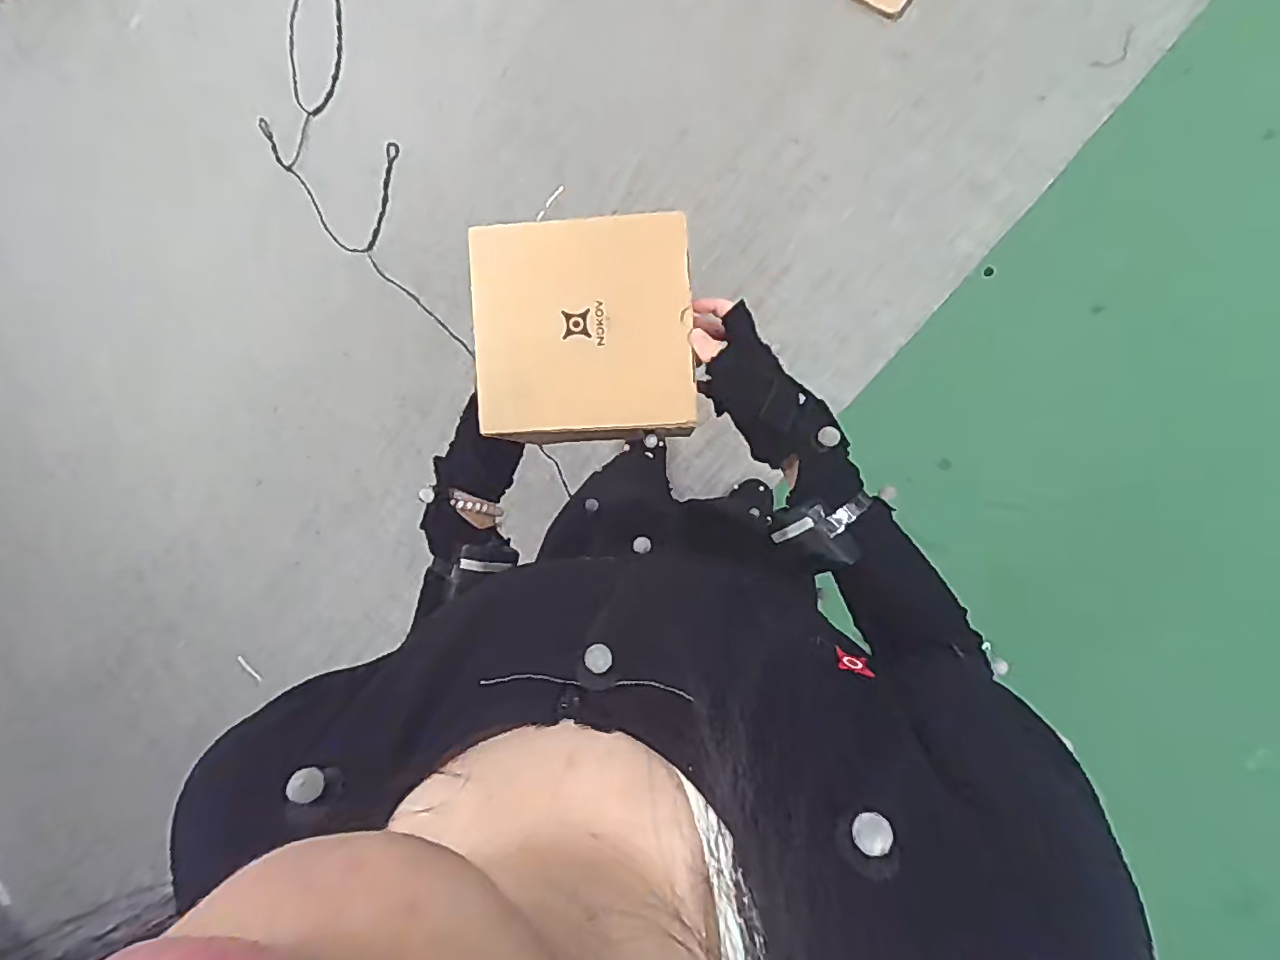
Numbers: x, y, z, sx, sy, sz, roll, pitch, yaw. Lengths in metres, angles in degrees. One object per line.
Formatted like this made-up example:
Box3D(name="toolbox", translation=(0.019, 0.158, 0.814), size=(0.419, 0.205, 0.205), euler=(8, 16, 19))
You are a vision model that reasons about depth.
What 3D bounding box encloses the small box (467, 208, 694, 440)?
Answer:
Box3D(name="small box", translation=(-0.042, -0.126, 0.502), size=(0.179, 0.176, 0.168), euler=(-3, 91, 3))
